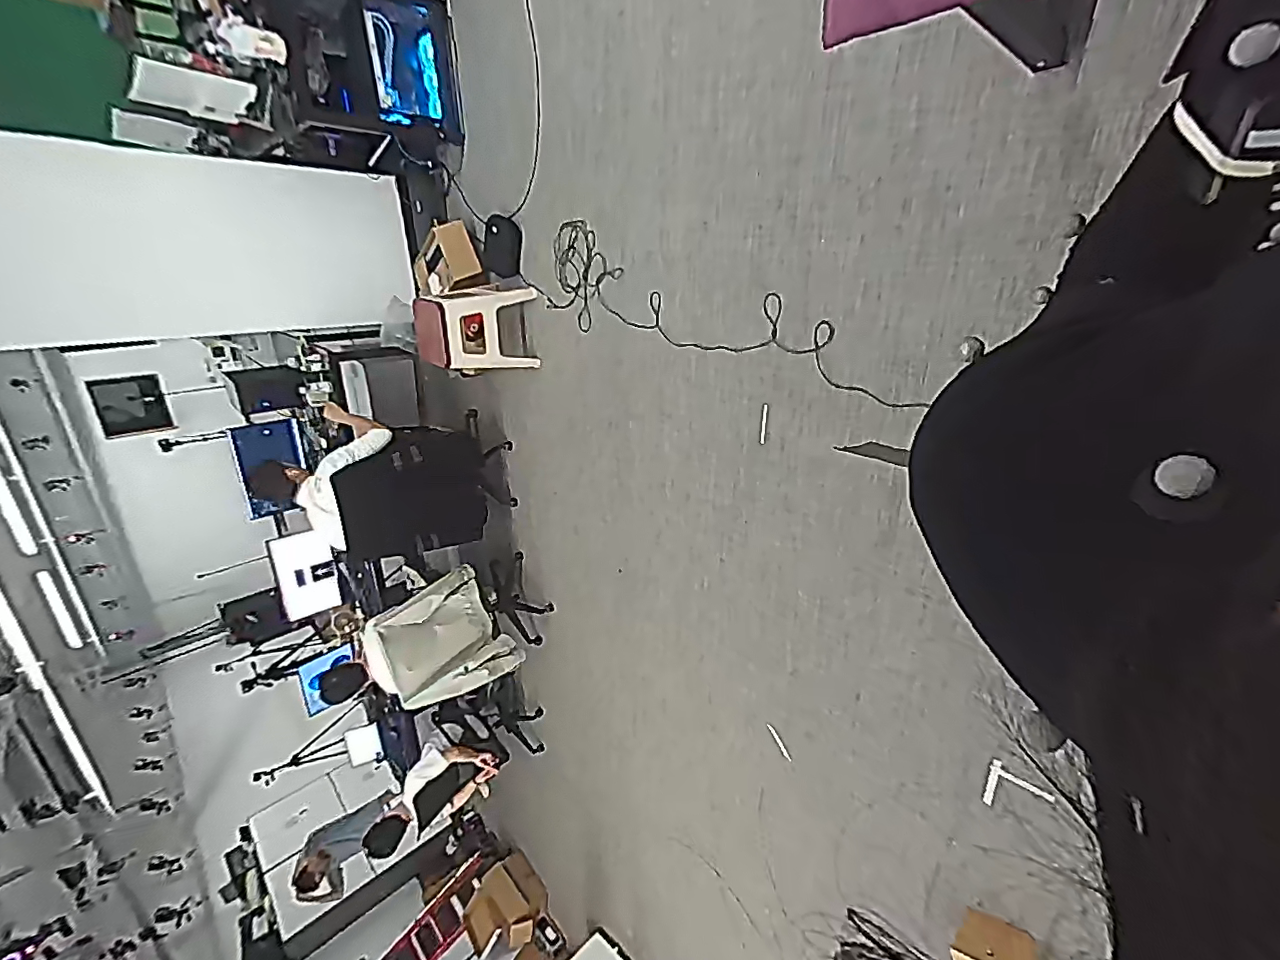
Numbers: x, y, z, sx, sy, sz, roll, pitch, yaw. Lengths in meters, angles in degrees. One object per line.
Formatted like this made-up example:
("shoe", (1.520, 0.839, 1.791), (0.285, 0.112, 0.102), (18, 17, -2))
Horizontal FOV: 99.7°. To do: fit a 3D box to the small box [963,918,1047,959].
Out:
("small box", (1.116, 1.485, 1.631), (0.179, 0.176, 0.168), (-14, 94, 52))
